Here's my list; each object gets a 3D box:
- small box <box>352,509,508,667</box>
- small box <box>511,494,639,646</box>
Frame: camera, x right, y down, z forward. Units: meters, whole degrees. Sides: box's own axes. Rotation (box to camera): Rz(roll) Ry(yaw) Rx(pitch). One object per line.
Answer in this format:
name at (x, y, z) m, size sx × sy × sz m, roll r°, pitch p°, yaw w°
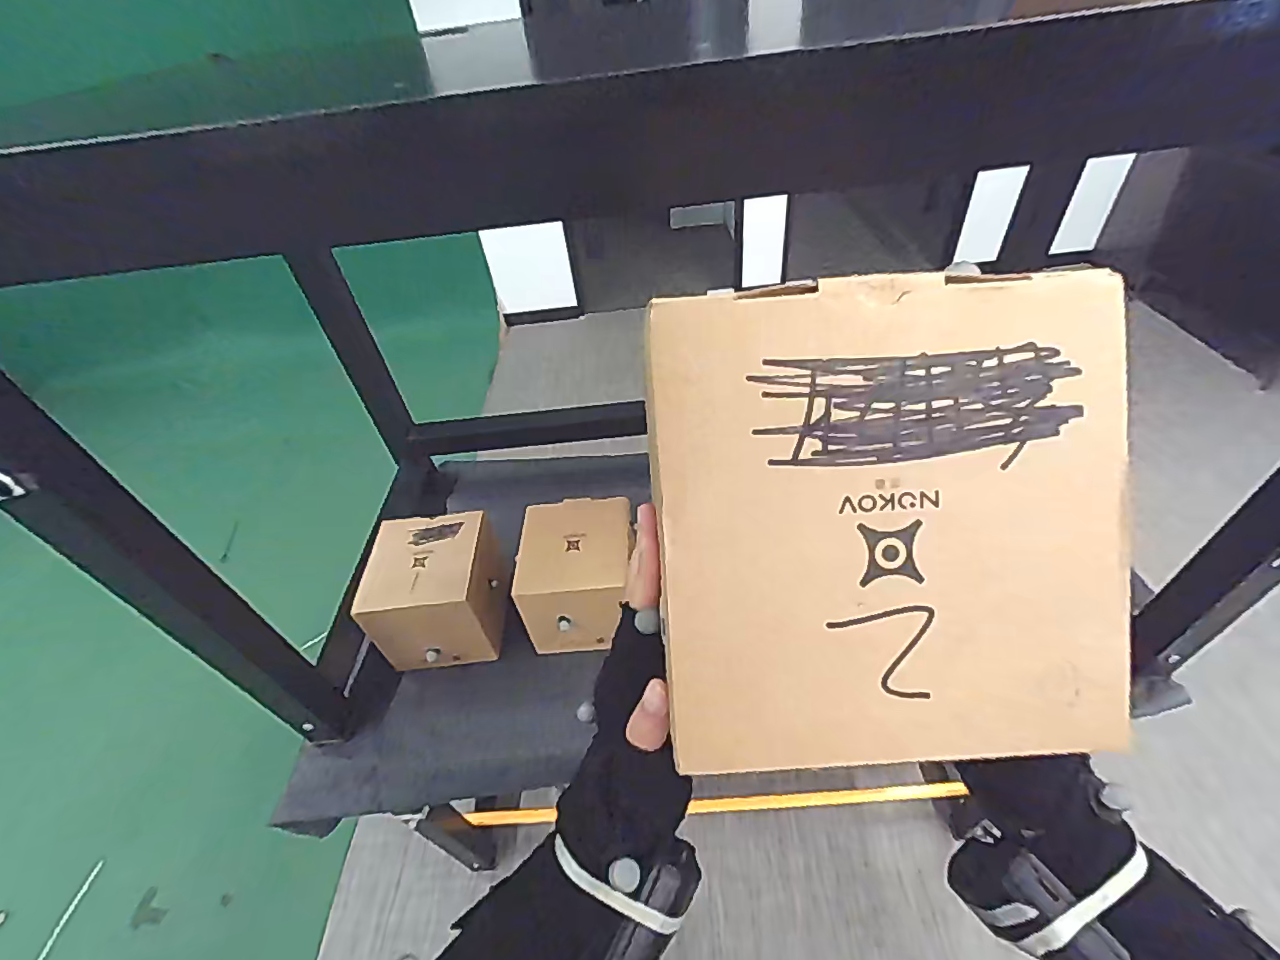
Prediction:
small box at (-0.317, 0.171, 0.860) m, size 0.168 × 0.176 × 0.179 m, roll -7°, pitch 43°, yaw 1°
small box at (-0.091, 0.147, 0.855) m, size 0.168 × 0.176 × 0.179 m, roll -5°, pitch 42°, yaw 3°
